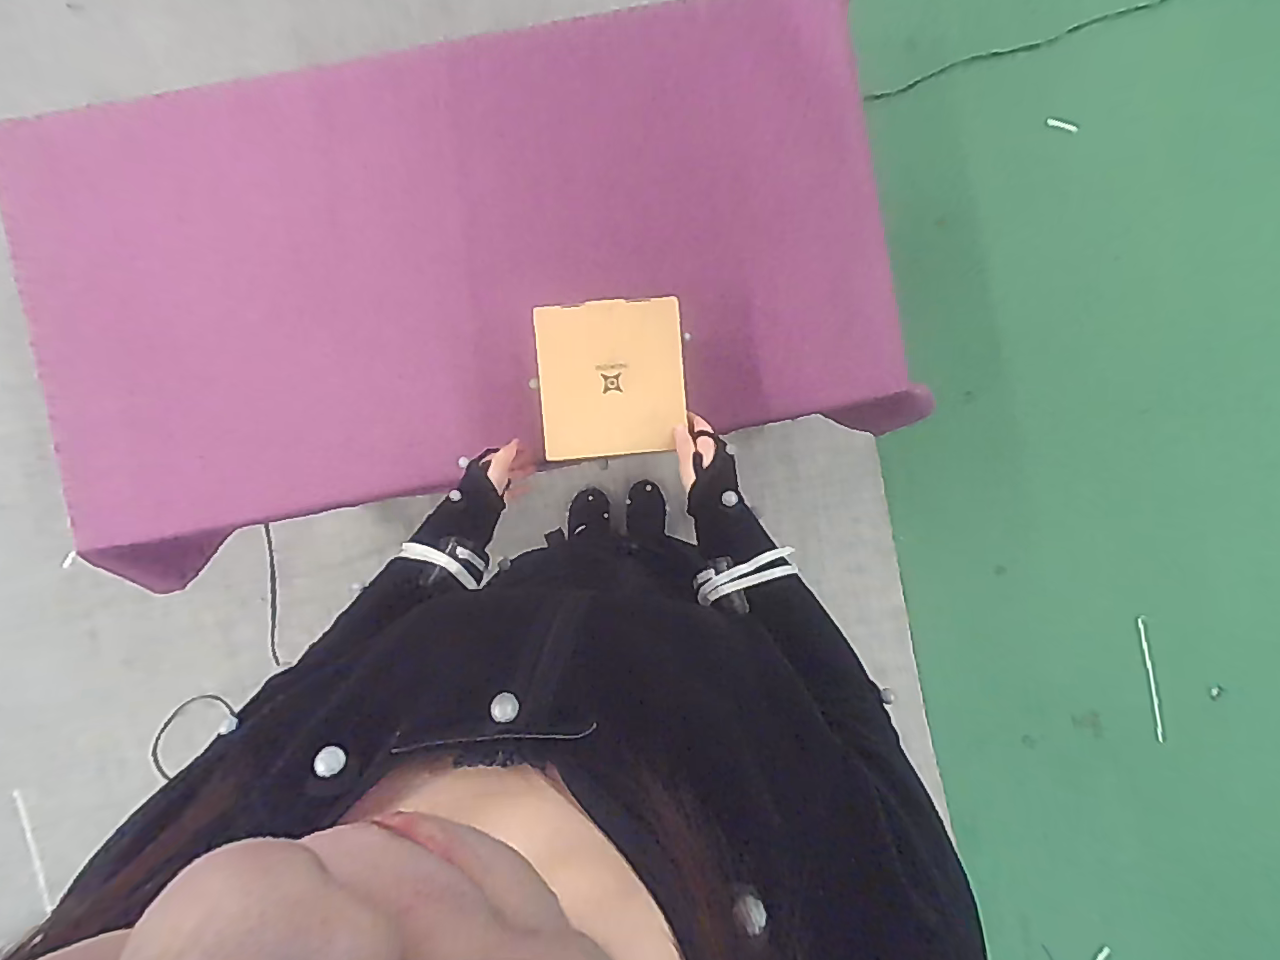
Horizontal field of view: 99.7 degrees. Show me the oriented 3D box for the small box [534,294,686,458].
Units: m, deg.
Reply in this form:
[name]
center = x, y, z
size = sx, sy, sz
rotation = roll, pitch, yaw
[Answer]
[small box]
center = -0.033, -0.120, 0.690
size = 0.168, 0.176, 0.179
rotation = -5, 91, 0
